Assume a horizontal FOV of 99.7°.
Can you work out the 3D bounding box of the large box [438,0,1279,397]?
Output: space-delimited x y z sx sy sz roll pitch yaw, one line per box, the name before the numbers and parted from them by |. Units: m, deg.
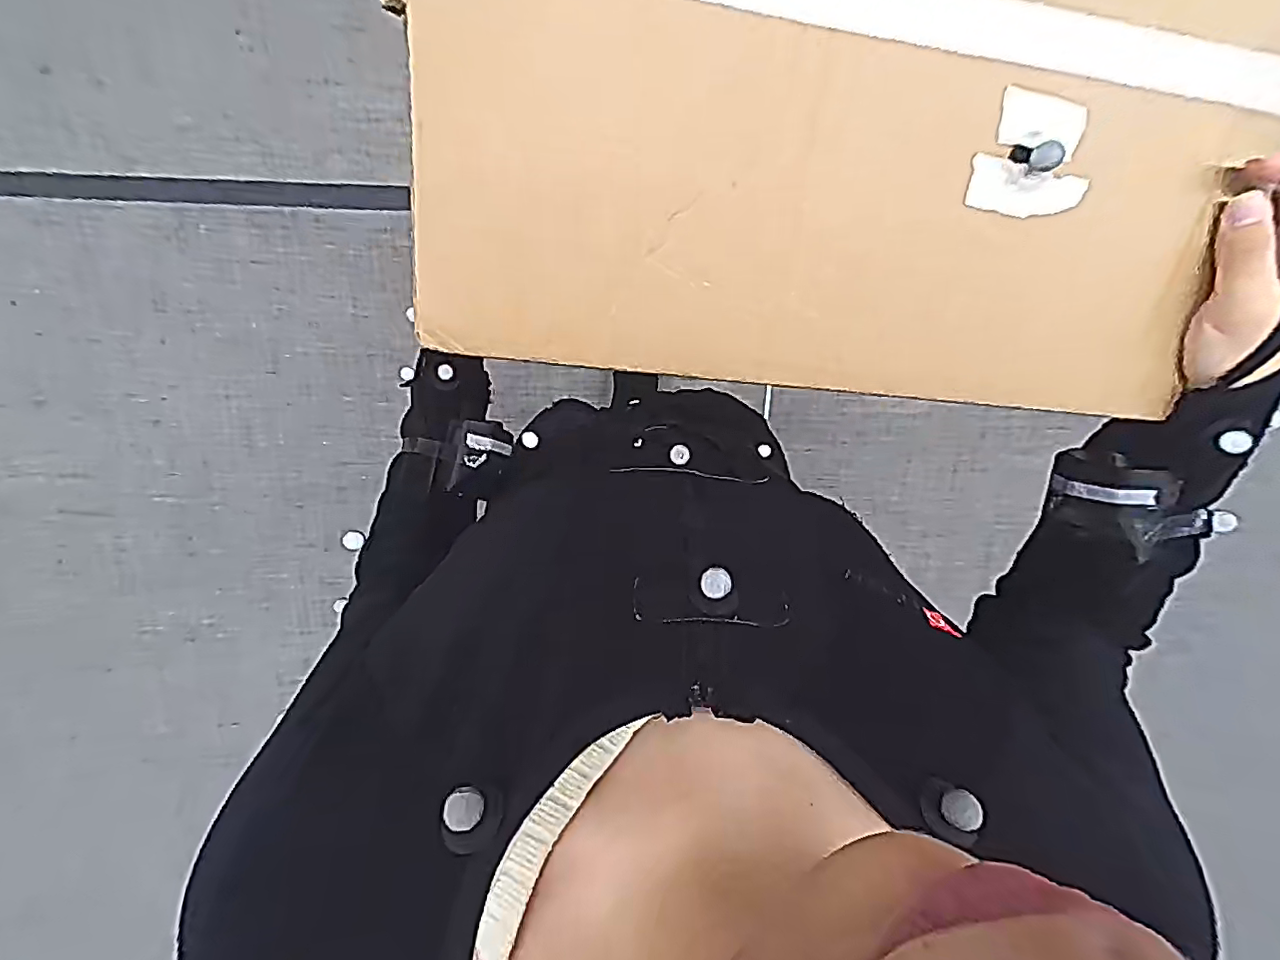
large box | 0.093 -0.248 0.376 0.408 0.320 0.320 3 109 -11
